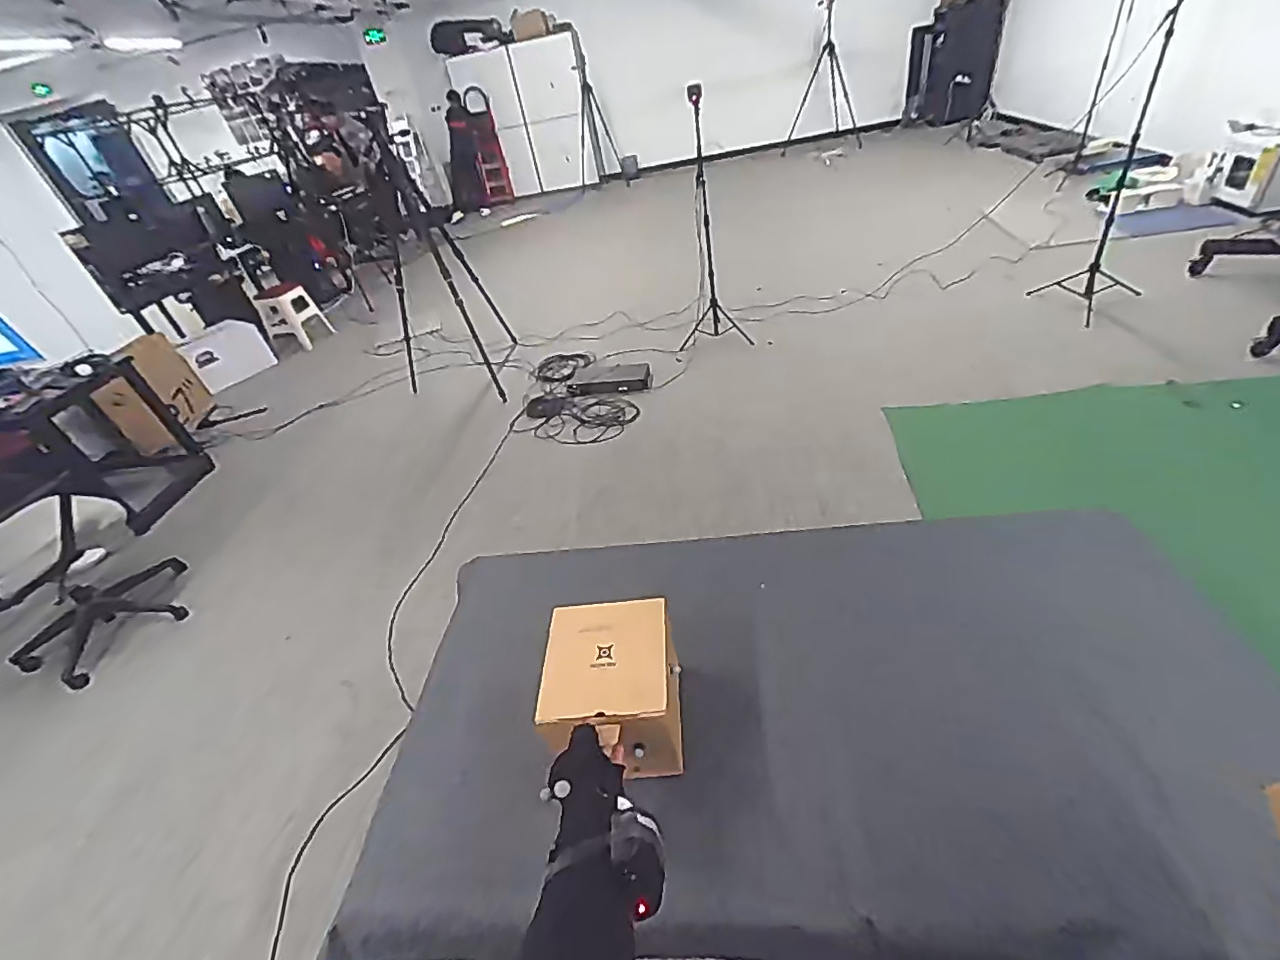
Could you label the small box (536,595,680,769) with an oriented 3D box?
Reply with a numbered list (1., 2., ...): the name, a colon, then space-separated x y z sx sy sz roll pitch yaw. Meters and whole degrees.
1. small box: -0.035 0.289 0.765 0.168 0.176 0.179 -6 37 5
